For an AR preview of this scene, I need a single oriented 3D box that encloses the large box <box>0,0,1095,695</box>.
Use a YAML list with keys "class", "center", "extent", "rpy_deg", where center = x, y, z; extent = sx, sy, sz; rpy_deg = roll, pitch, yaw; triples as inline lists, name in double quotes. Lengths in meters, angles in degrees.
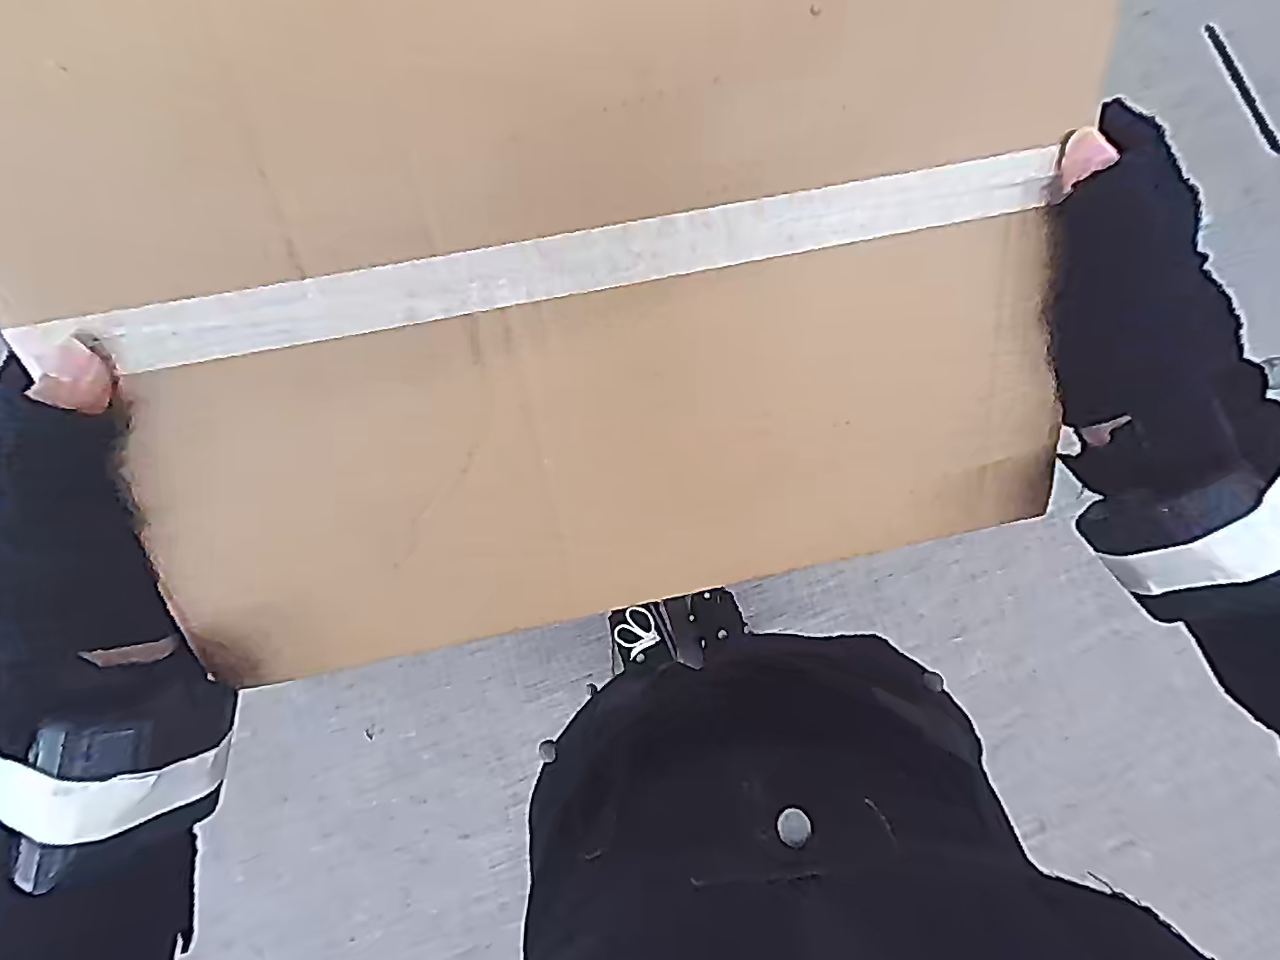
- class: "large box"
  center: [-0.037, -0.131, 0.350]
  extent: [0.408, 0.320, 0.320]
  rpy_deg: [-12, 113, -4]
